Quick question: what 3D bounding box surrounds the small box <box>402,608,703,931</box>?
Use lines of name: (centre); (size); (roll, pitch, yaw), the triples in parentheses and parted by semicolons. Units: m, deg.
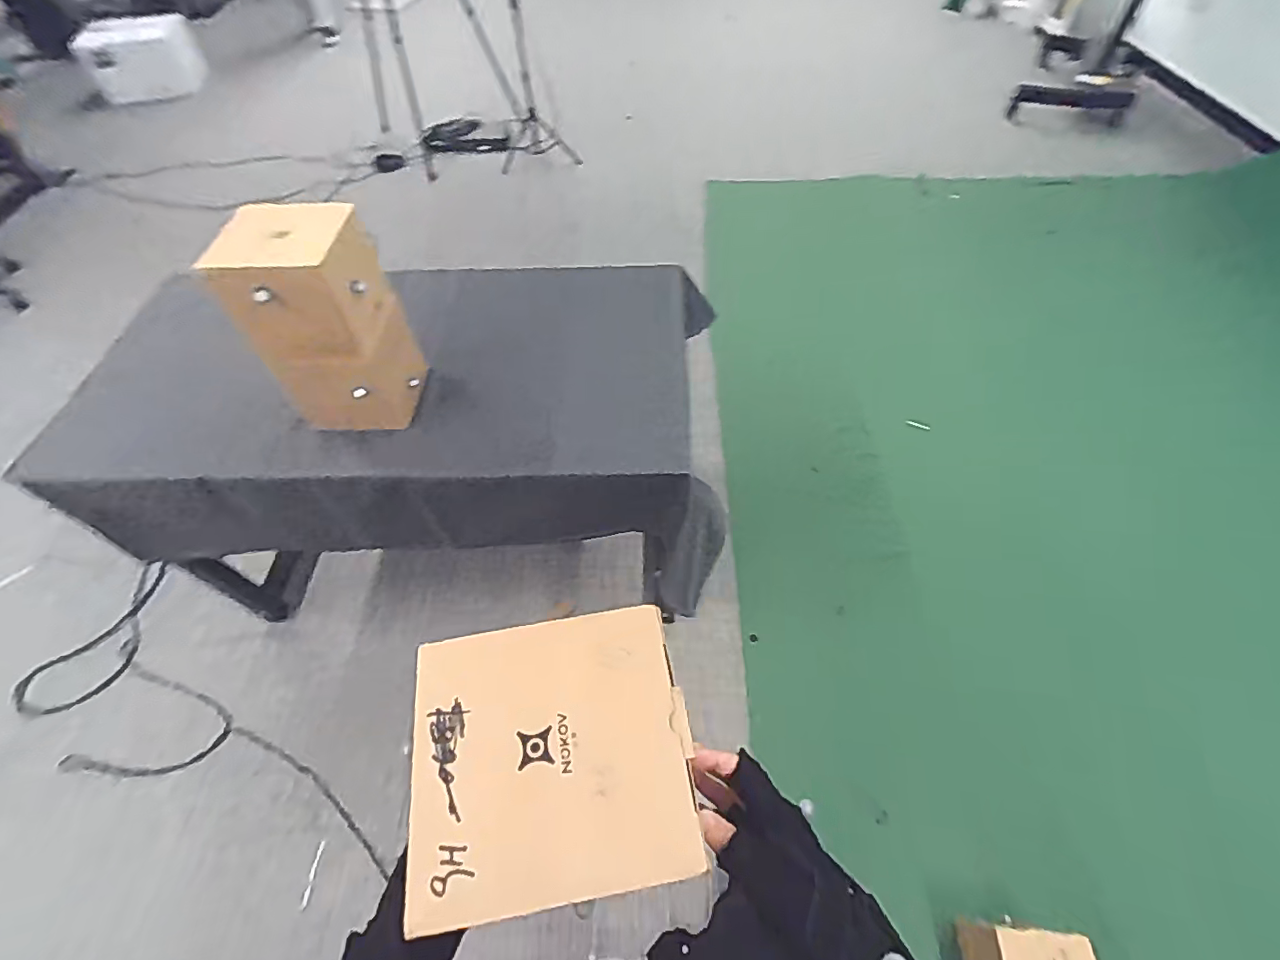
small box: (-0.062, 0.217, 0.418); (0.179, 0.176, 0.168); (-9, 56, -6)

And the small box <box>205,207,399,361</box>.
small box: (-0.507, -0.302, 0.847); (0.179, 0.176, 0.168); (-1, 54, 1)
